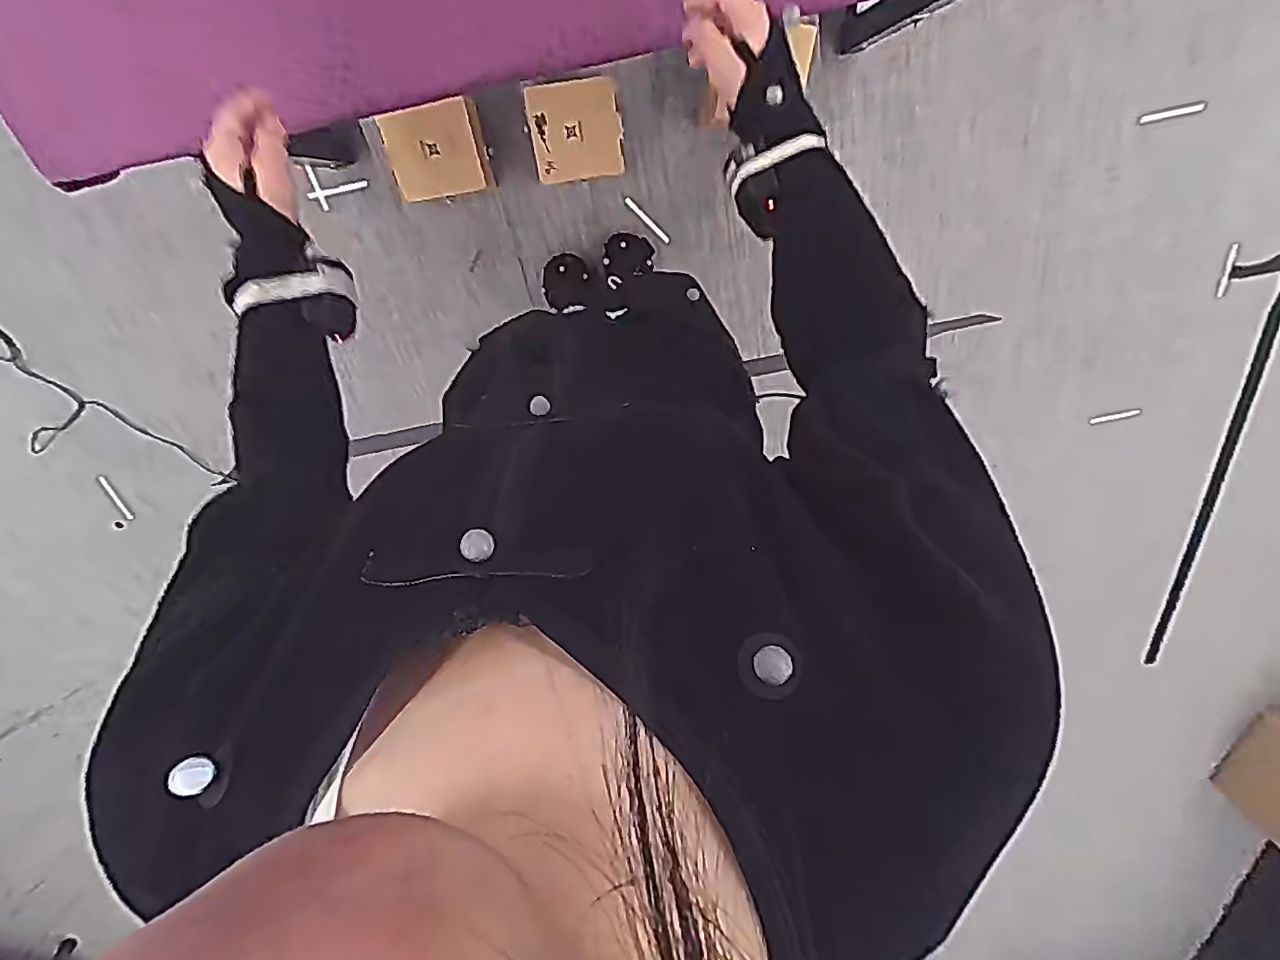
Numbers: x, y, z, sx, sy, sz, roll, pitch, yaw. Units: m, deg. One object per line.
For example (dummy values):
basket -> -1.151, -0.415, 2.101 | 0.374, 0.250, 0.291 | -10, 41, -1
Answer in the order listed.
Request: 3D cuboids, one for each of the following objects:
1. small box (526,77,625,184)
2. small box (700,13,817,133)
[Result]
small box -> -0.132, -0.722, 1.129 | 0.179, 0.176, 0.168 | -8, 119, -1
small box -> 0.234, -0.823, 1.112 | 0.179, 0.176, 0.168 | 3, 118, -6
